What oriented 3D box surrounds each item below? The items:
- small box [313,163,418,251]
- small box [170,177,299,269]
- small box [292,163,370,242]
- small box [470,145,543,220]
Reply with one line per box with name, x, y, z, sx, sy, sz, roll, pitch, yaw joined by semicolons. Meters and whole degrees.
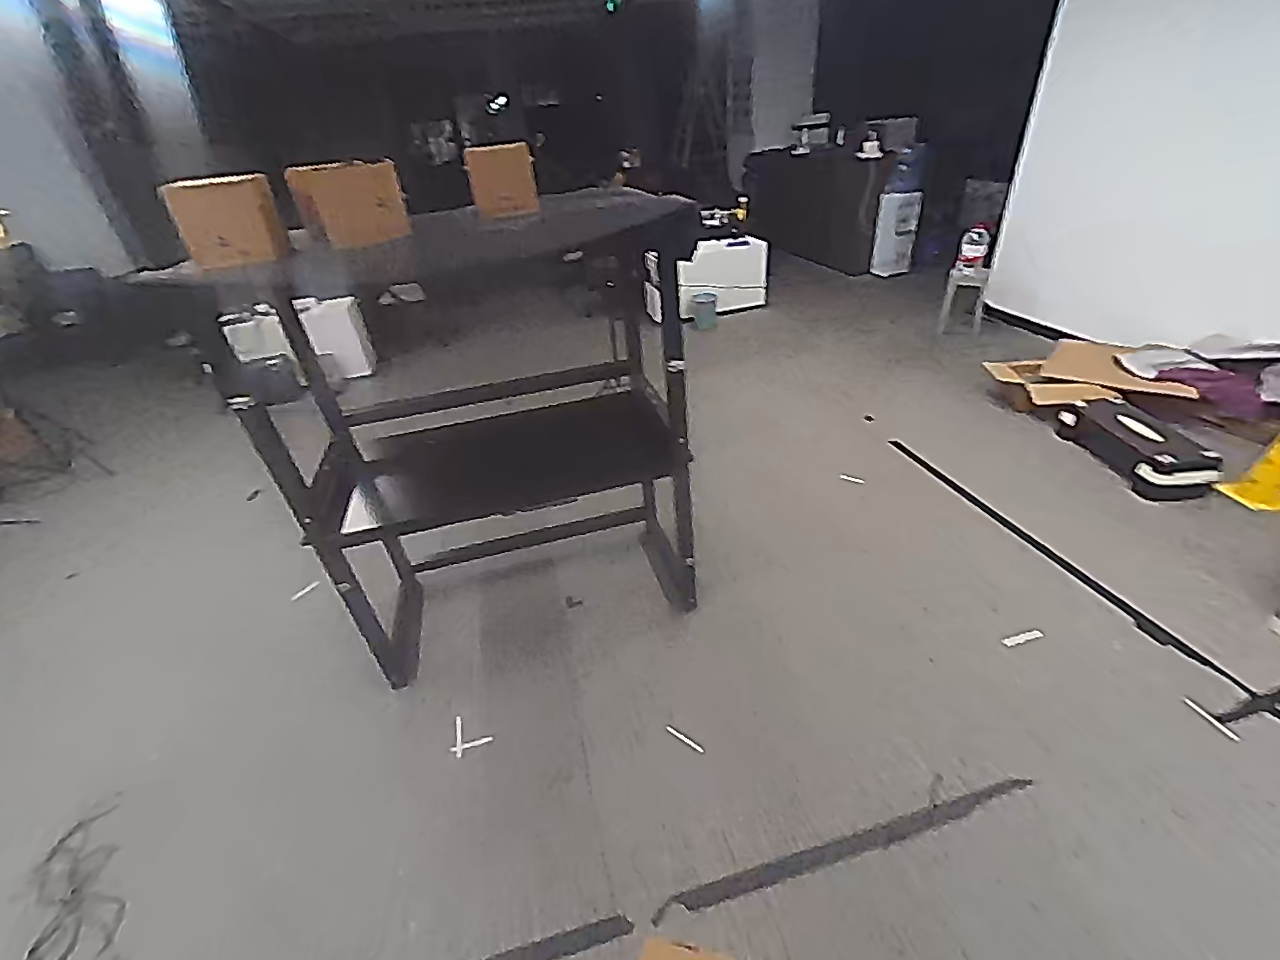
small box;-0.652;-0.664;1.310;0.179;0.176;0.168;-13;32;-12
small box;-0.921;-0.596;1.250;0.168;0.176;0.179;-14;35;-13
small box;-0.807;-0.758;1.478;0.168;0.176;0.179;-12;33;-9
small box;-0.375;-0.843;1.533;0.168;0.176;0.179;-11;34;-7
